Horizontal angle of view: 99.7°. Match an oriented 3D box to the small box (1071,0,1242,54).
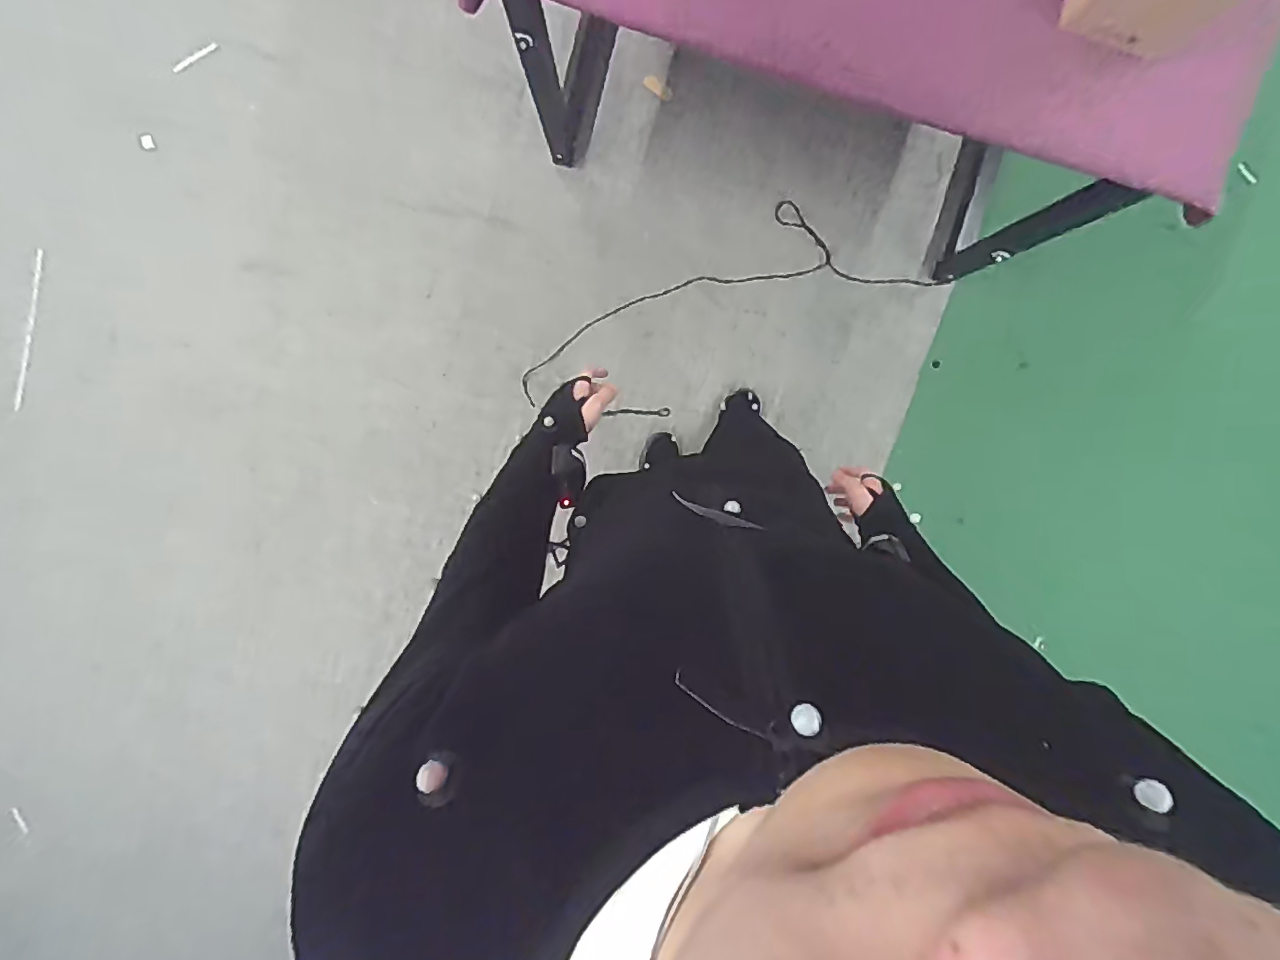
[{"bbox_3d":[0.730,-0.729,0.717,0.168,0.176,0.179,16,96,-1],"label":"small box"}]
